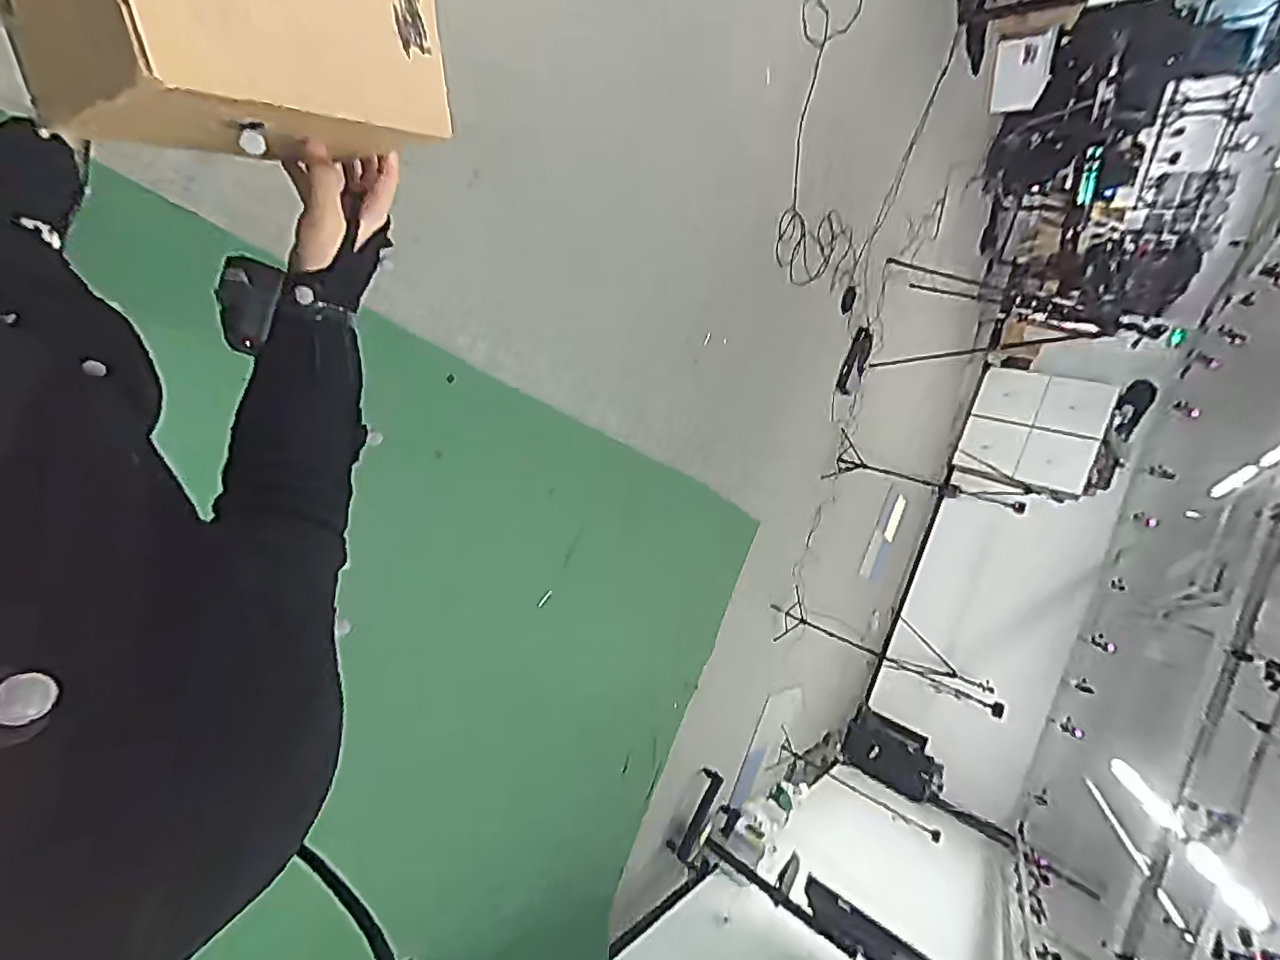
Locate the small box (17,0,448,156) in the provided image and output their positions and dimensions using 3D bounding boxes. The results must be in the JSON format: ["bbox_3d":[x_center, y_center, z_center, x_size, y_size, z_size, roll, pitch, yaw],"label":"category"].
[{"bbox_3d":[-0.252,-0.307,0.328,0.179,0.176,0.168,-31,127,-50],"label":"small box"}]
